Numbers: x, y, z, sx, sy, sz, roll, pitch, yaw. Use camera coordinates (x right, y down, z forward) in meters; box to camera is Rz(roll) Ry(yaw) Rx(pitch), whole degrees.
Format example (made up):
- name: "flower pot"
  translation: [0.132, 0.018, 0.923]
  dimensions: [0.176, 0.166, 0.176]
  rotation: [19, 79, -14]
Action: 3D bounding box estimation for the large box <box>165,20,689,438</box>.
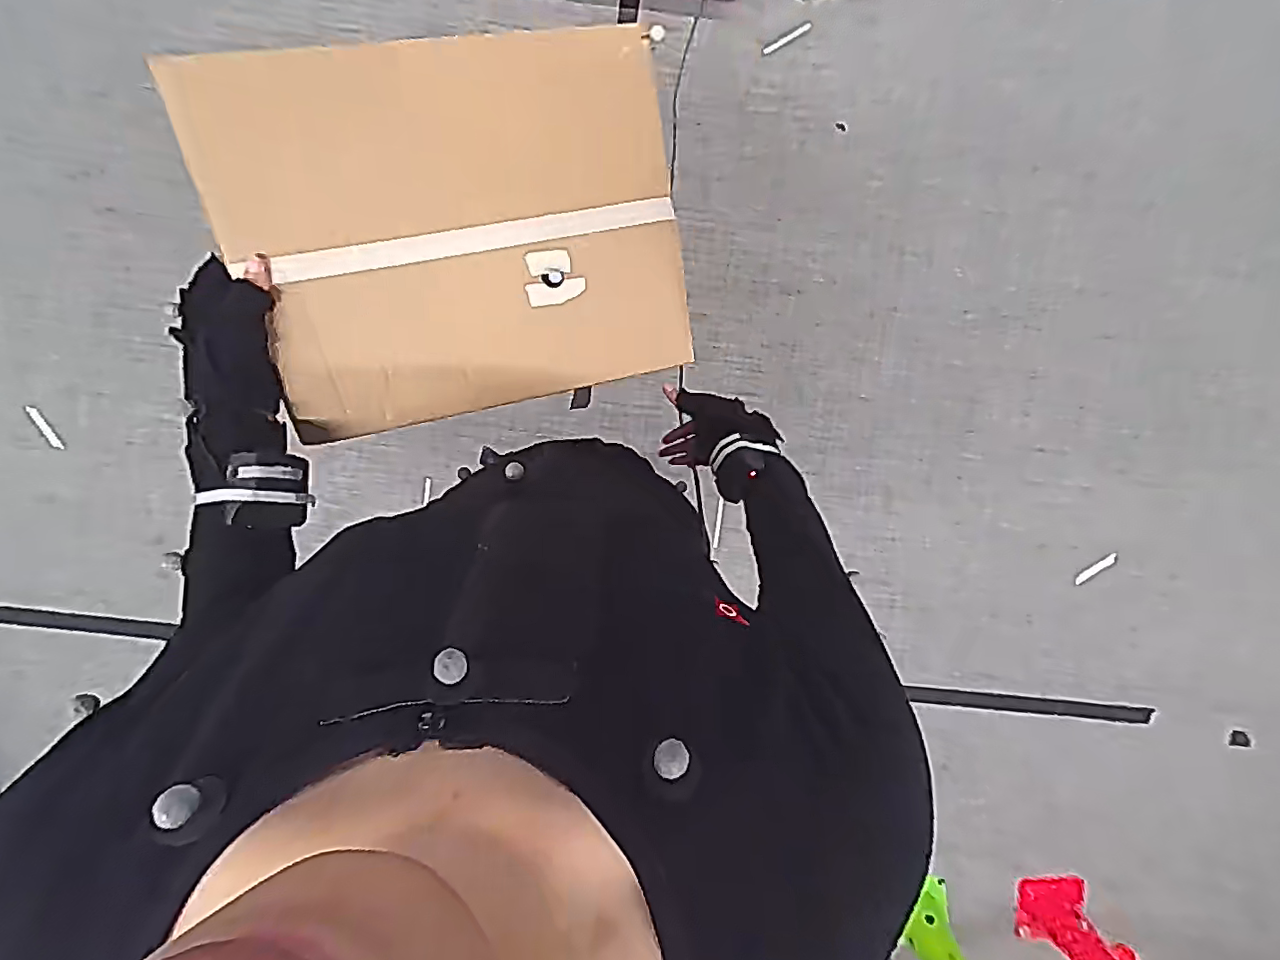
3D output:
- name: "large box"
  translation: [-0.203, -0.273, 0.647]
  dimensions: [0.408, 0.320, 0.320]
  rotation: [-16, 111, -13]
